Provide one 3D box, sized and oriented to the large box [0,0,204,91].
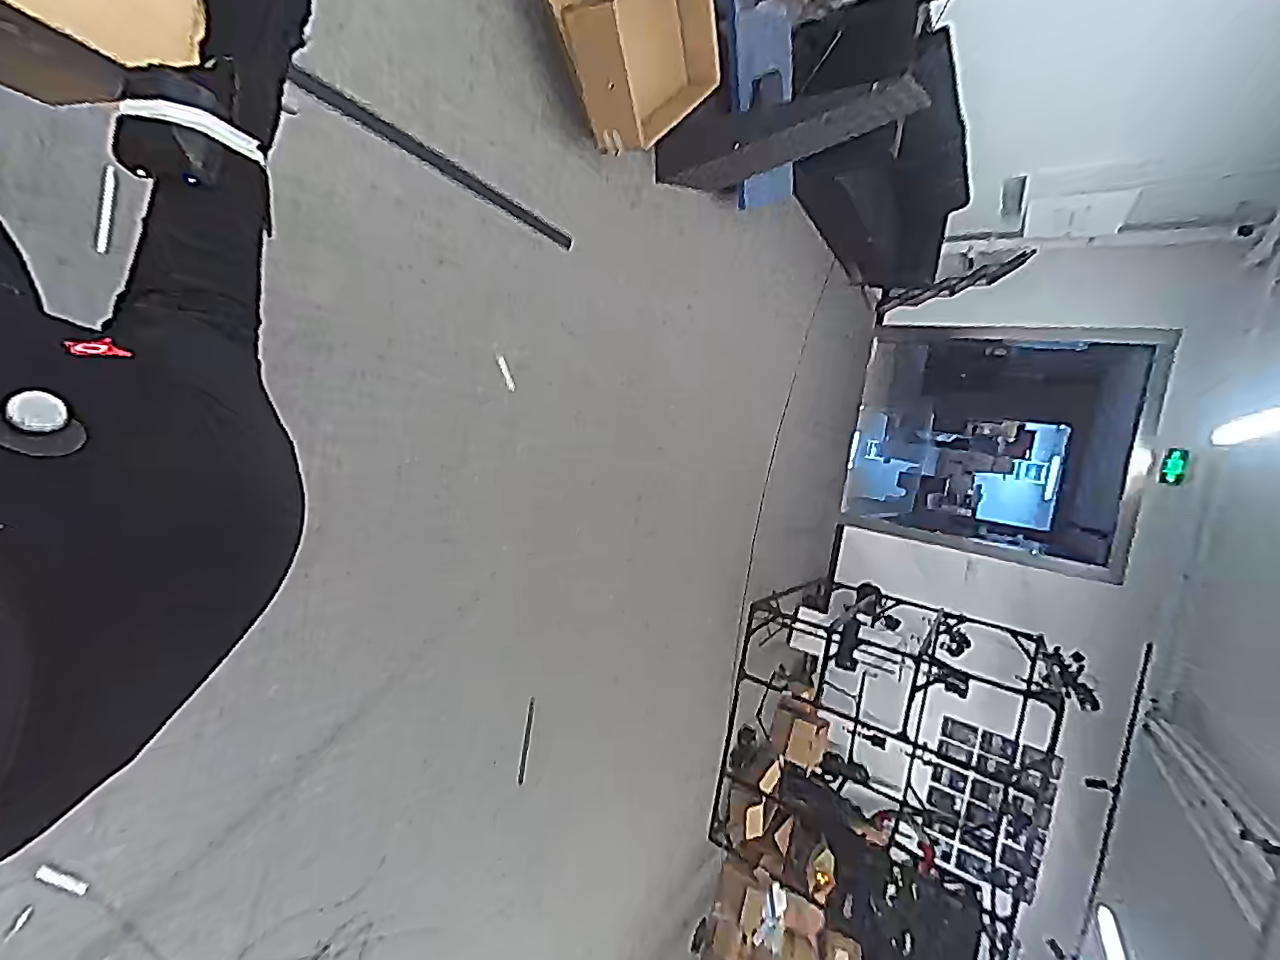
[{"bbox_3d":[-0.508,-0.478,0.270,0.408,0.320,0.320,2,107,-62],"label":"large box"}]
